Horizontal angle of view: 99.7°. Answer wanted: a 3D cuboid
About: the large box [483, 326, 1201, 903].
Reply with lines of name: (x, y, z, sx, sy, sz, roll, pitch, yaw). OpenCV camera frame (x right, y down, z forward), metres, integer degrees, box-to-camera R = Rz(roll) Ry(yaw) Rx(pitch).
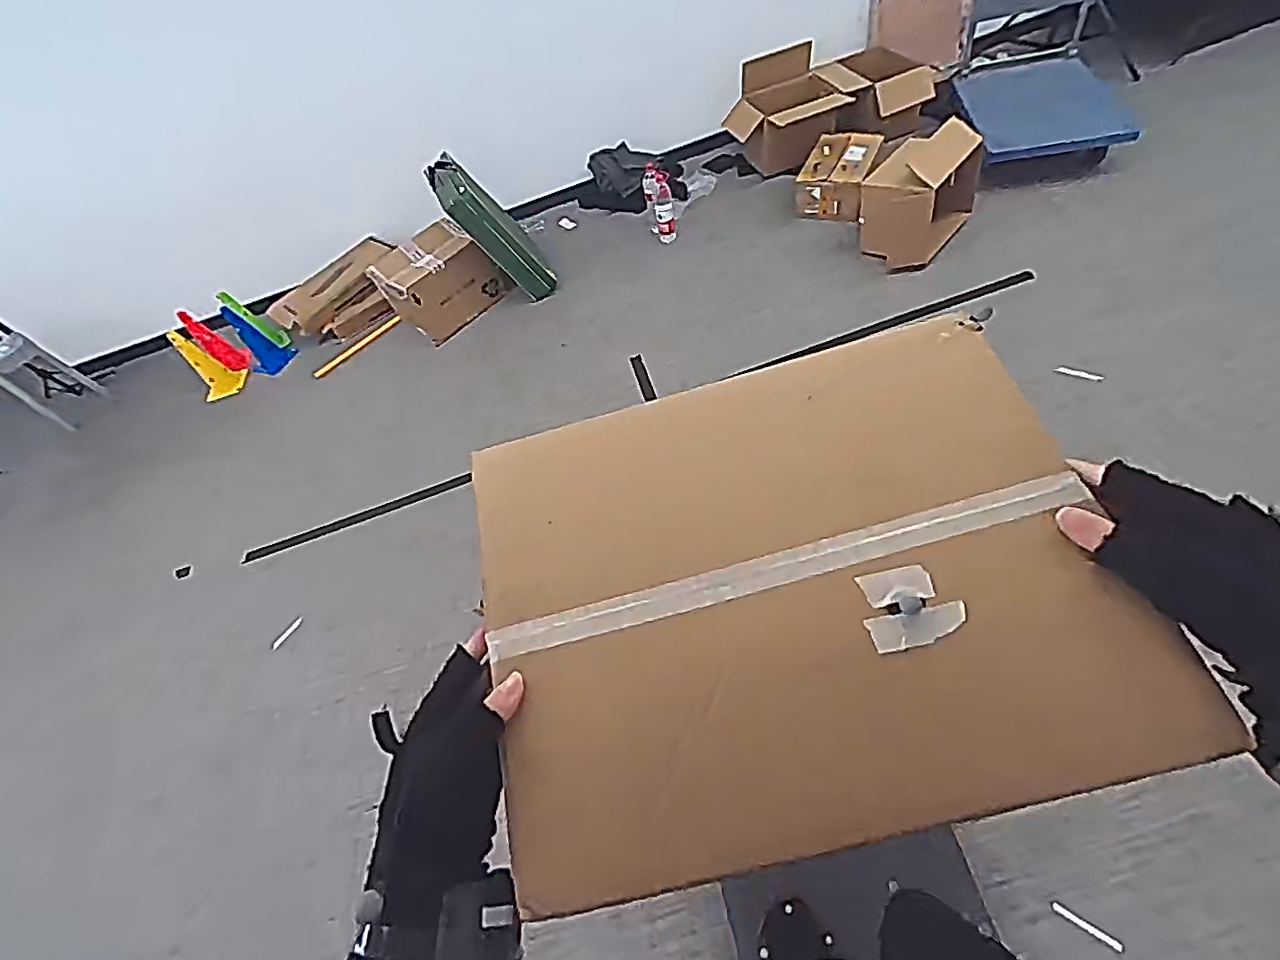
large box: (0.115, 0.125, 0.509, 0.408, 0.320, 0.320, -16, 65, 2)
